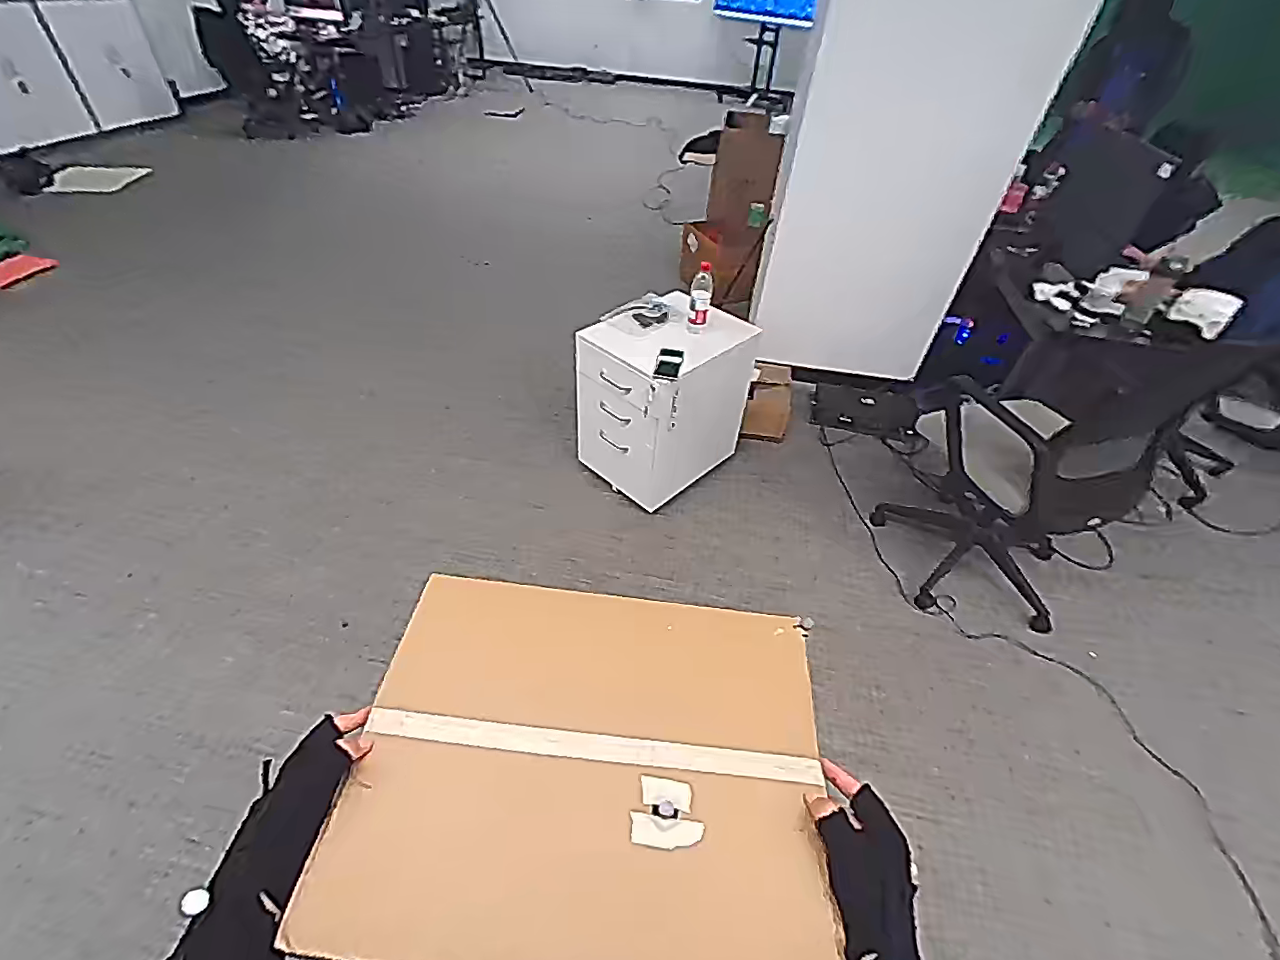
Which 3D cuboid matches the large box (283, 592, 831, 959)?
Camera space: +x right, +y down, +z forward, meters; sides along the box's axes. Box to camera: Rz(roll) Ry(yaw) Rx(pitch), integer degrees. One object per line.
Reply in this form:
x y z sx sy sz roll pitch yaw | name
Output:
-0.061 0.353 0.590 0.408 0.320 0.320 7 46 0 | large box
